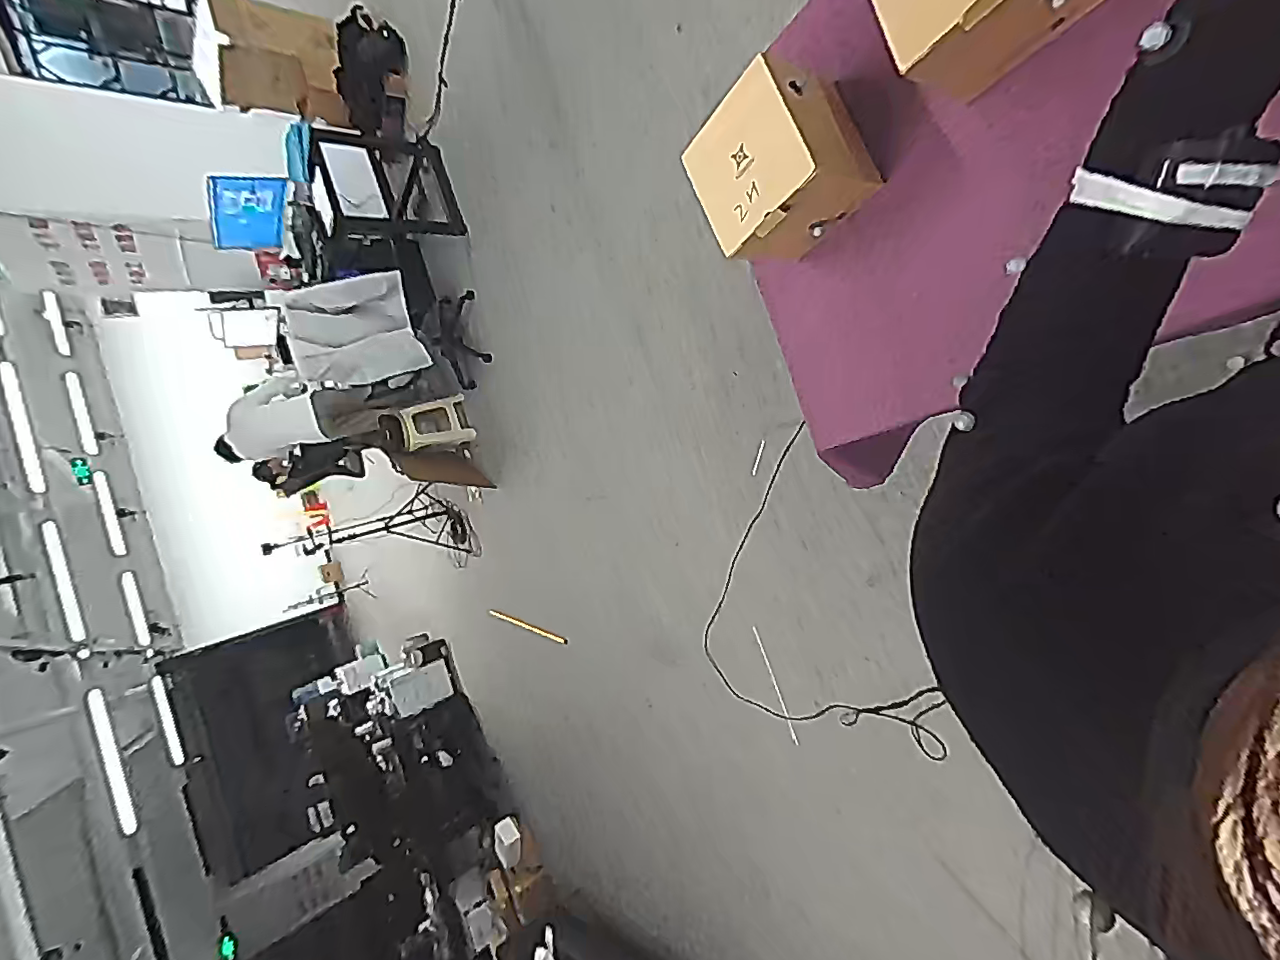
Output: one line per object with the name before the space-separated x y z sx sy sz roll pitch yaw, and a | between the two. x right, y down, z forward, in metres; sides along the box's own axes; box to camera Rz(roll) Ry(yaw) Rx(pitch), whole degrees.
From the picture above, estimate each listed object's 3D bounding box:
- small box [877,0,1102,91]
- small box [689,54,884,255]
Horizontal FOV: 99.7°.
small box | 0.353 -0.535 0.545 0.168 0.176 0.179 -22 85 52
small box | 0.206 -0.440 0.765 0.168 0.176 0.179 -31 78 52
